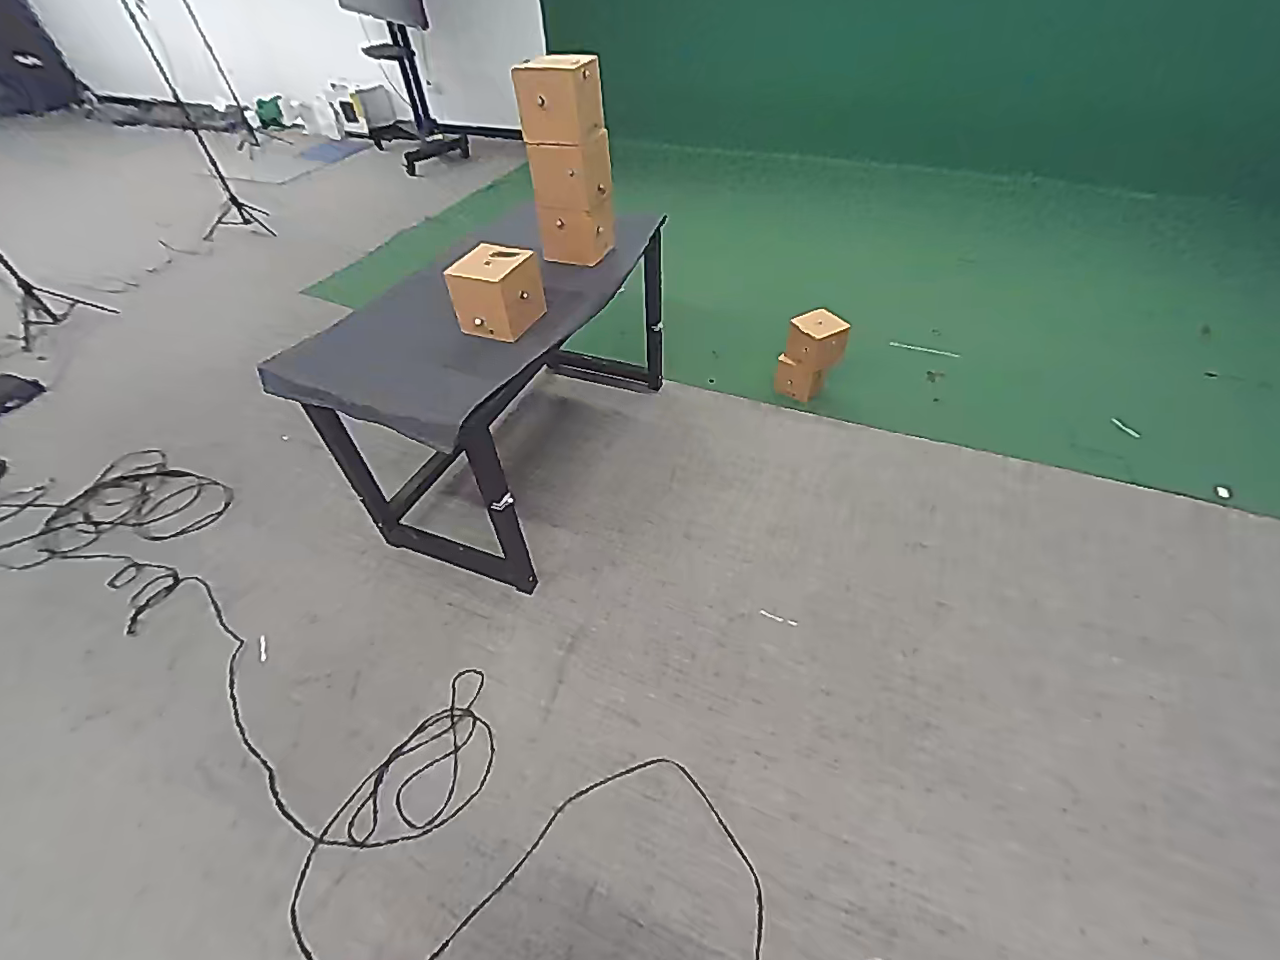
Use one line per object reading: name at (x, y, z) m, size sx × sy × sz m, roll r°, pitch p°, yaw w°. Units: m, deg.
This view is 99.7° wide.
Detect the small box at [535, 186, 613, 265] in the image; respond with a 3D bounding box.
small box at (-0.195, -0.785, 1.673) m, size 0.179 × 0.176 × 0.168 m, roll 15°, pitch 49°, yaw 18°

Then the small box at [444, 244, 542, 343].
small box at (-0.368, -0.482, 1.395) m, size 0.168 × 0.176 × 0.179 m, roll 16°, pitch 50°, yaw 18°

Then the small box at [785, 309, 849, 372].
small box at (0.712, -0.568, 2.205) m, size 0.179 × 0.176 × 0.168 m, roll -23°, pitch 52°, yaw -19°

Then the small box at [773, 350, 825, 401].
small box at (0.691, -0.469, 2.336) m, size 0.168 × 0.176 × 0.179 m, roll 30°, pitch 55°, yaw 26°

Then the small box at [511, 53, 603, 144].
small box at (-0.212, -1.009, 1.433) m, size 0.179 × 0.176 × 0.168 m, roll 12°, pitch 49°, yaw 16°
